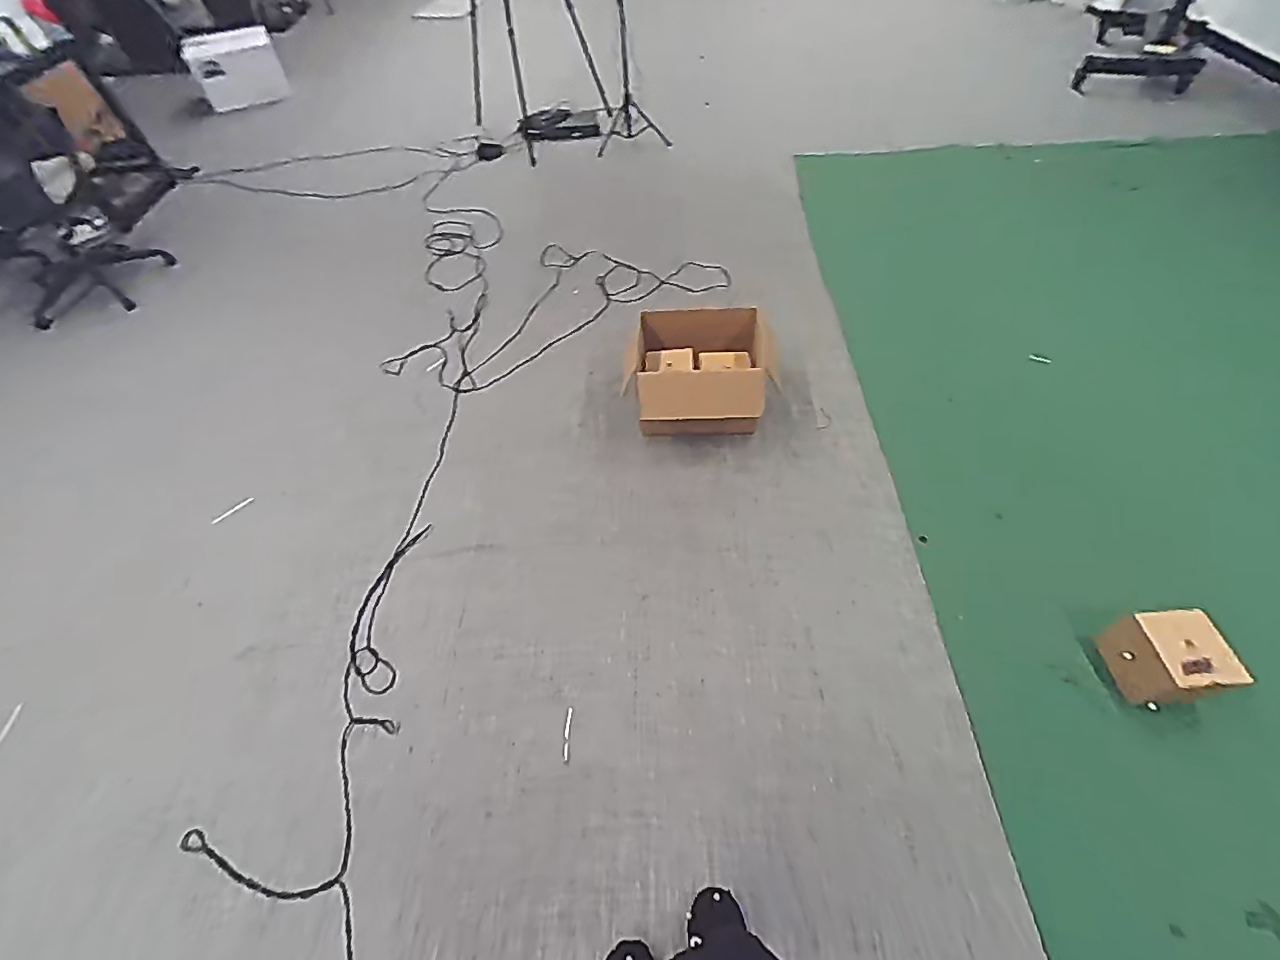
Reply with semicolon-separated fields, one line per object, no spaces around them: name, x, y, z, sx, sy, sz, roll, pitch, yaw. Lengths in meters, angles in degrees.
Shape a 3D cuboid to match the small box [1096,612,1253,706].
small box;1.268;0.437;1.301;0.168;0.176;0.179;-3;52;1
